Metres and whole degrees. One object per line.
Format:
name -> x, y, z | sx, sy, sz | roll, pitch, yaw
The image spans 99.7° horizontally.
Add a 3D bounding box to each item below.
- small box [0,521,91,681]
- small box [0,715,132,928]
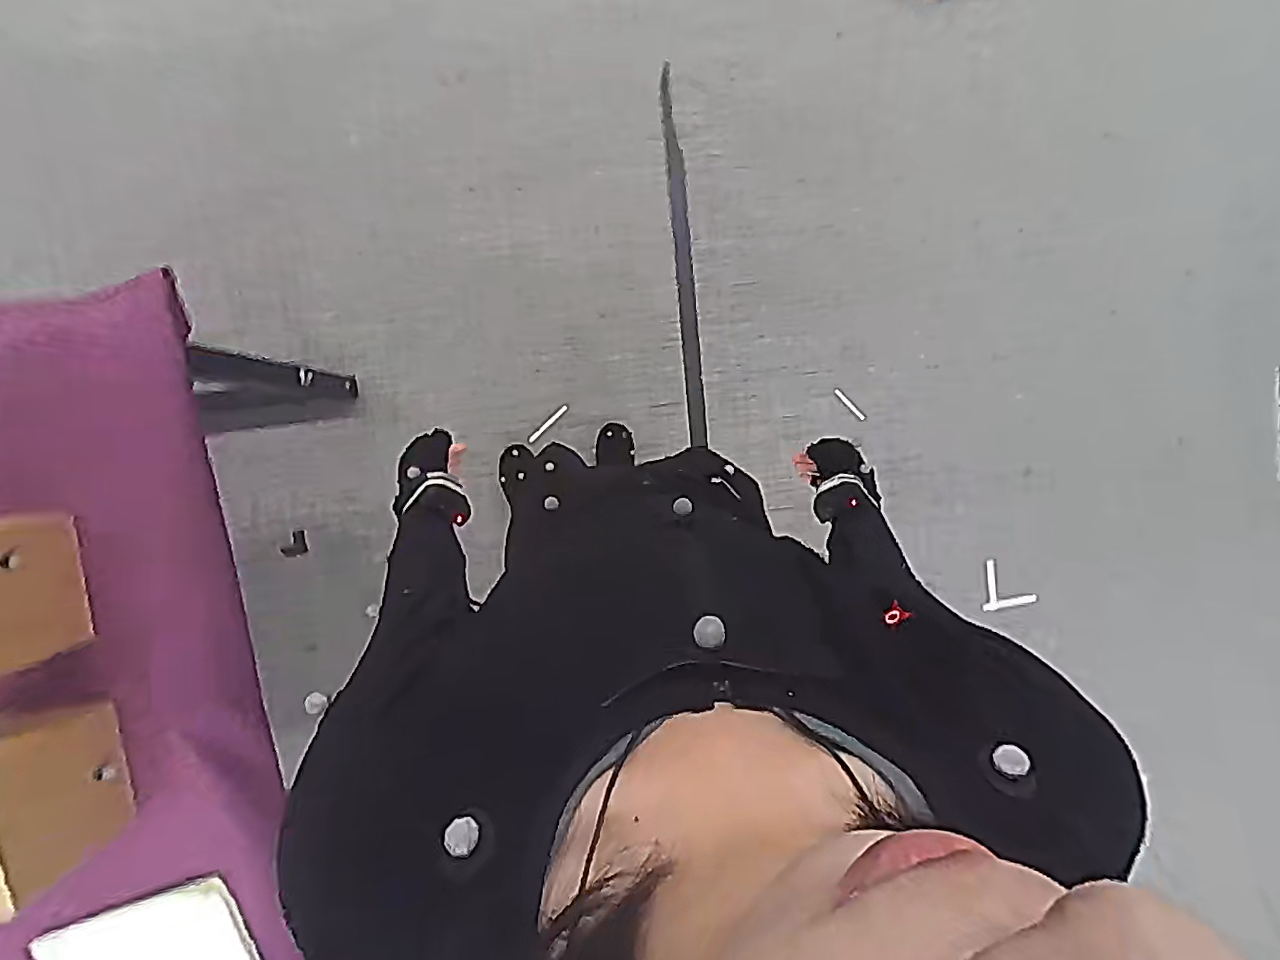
small box -> -0.819, 0.147, 0.638 | 0.168, 0.176, 0.179 | -5, 97, -2
small box -> -0.786, 0.410, 0.661 | 0.168, 0.176, 0.179 | -8, 95, -4
